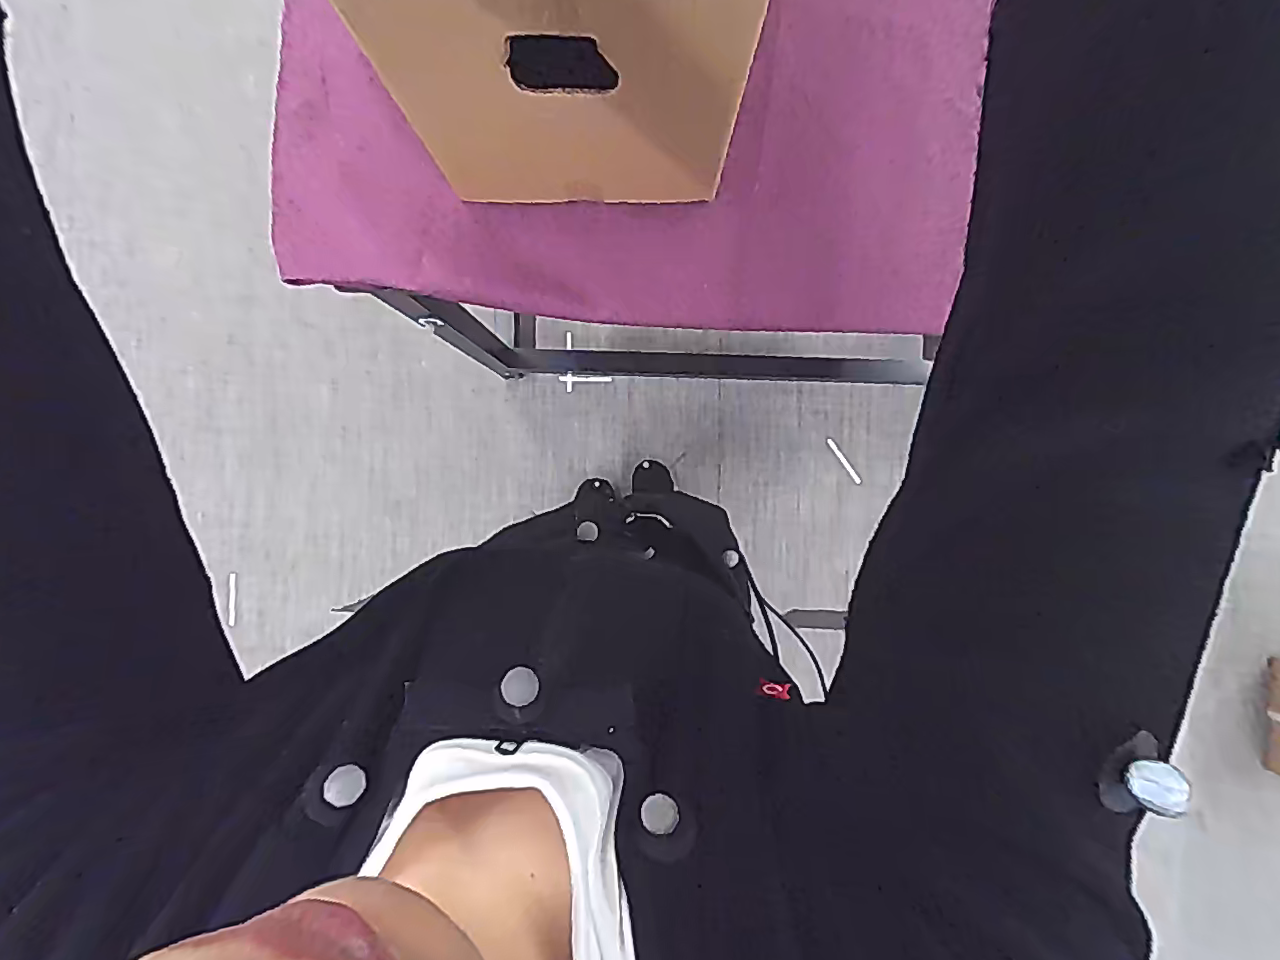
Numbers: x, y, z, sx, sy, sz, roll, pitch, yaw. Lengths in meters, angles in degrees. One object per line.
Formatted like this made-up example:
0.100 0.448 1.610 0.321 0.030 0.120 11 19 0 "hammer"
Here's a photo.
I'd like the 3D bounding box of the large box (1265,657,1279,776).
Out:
1.819 0.608 1.244 0.408 0.320 0.320 0 91 1 "large box"
